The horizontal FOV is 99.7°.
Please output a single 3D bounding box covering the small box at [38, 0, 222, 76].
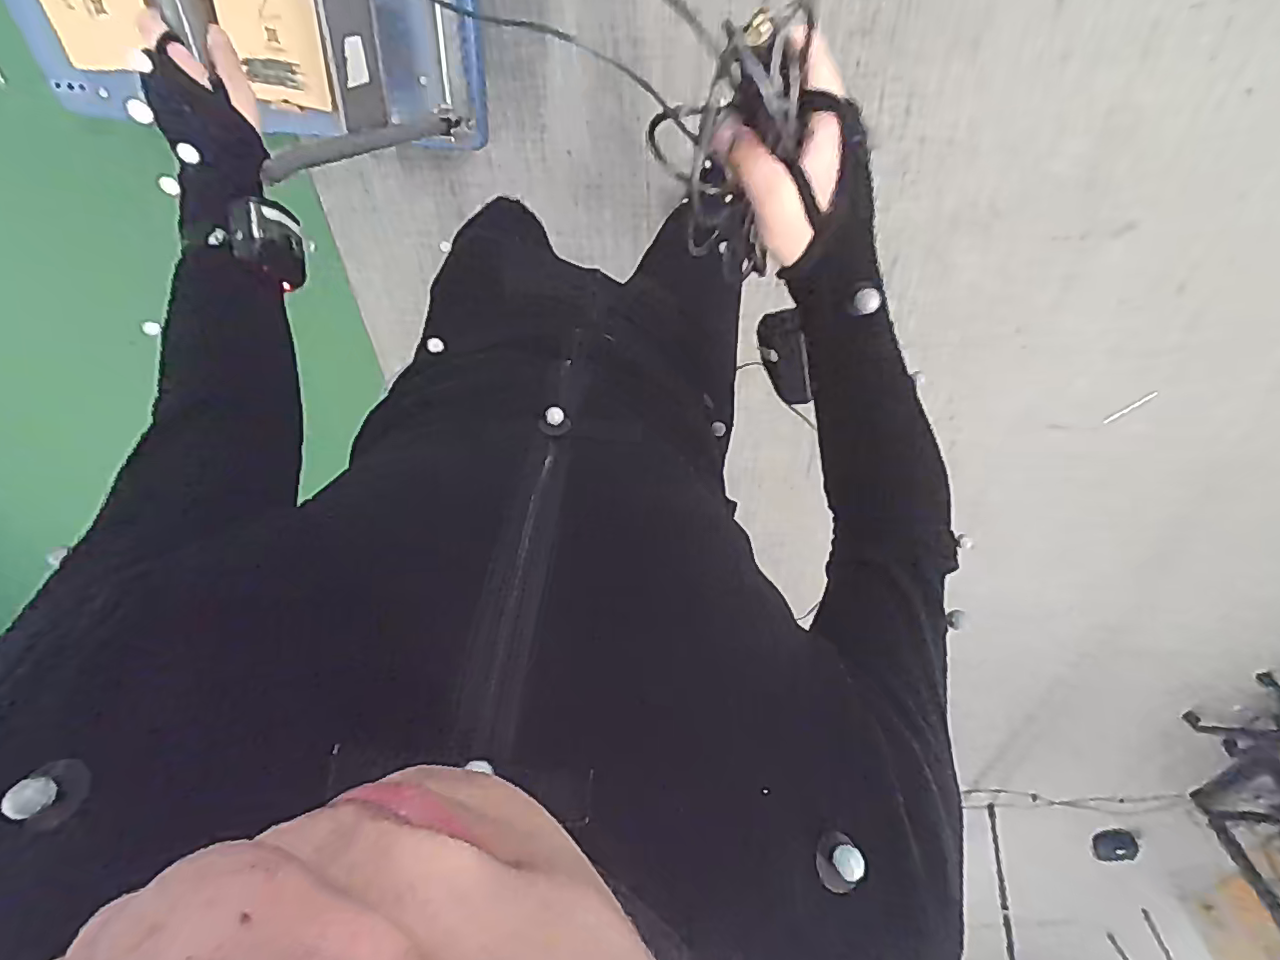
[{"bbox_3d":[-0.874,-0.805,0.933,0.179,0.176,0.168,2,127,2],"label":"small box"}]
